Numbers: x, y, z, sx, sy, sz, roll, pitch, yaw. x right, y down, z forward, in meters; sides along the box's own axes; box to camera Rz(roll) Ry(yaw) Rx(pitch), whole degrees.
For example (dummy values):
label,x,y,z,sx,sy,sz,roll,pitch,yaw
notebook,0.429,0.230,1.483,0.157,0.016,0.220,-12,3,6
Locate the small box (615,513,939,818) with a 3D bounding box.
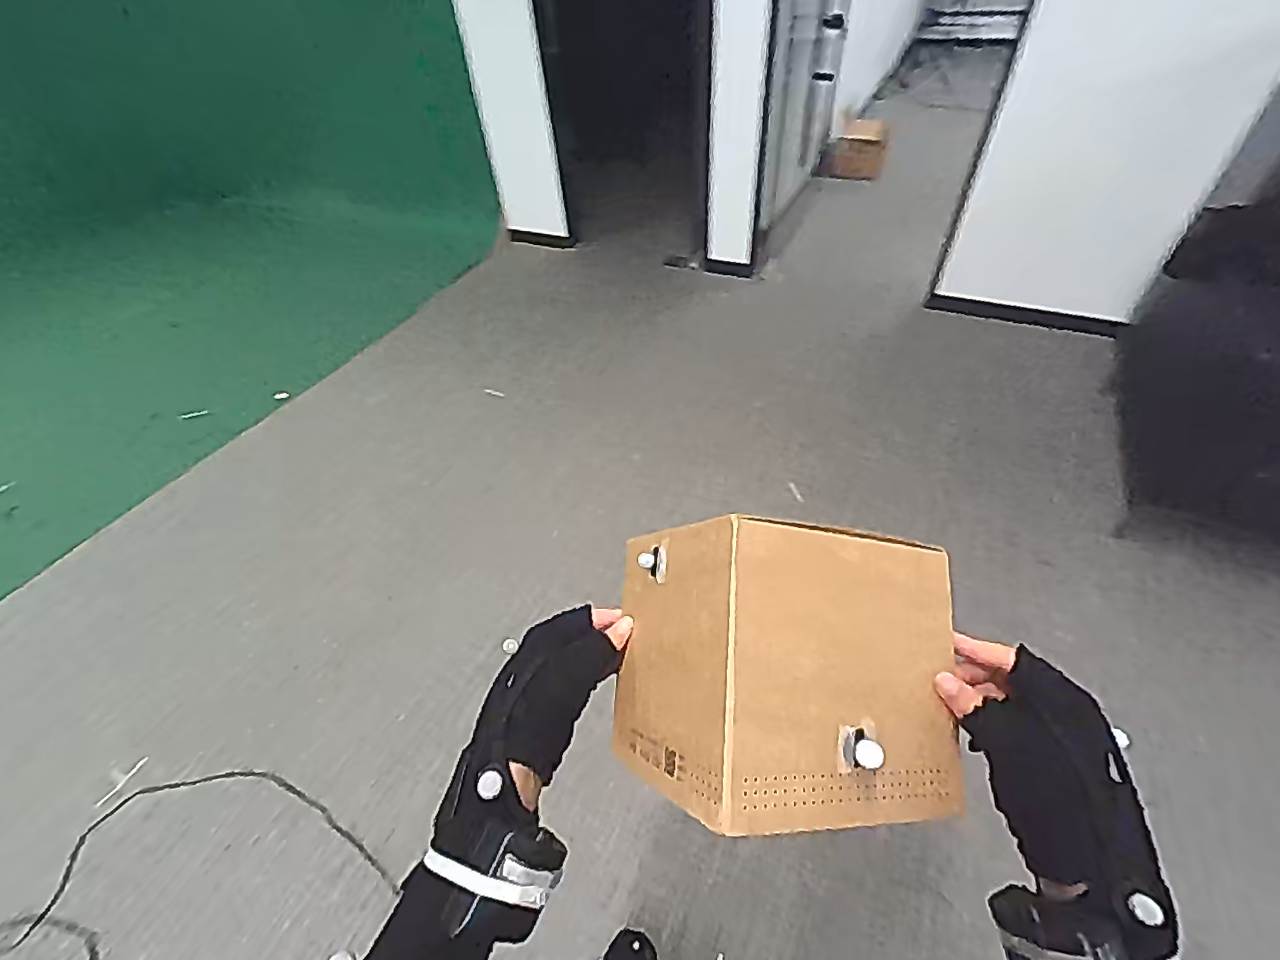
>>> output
label,x,y,z,sx,sy,sz,roll,pitch,yaw
small box,0.091,0.125,0.401,0.179,0.168,0.176,8,76,-21
